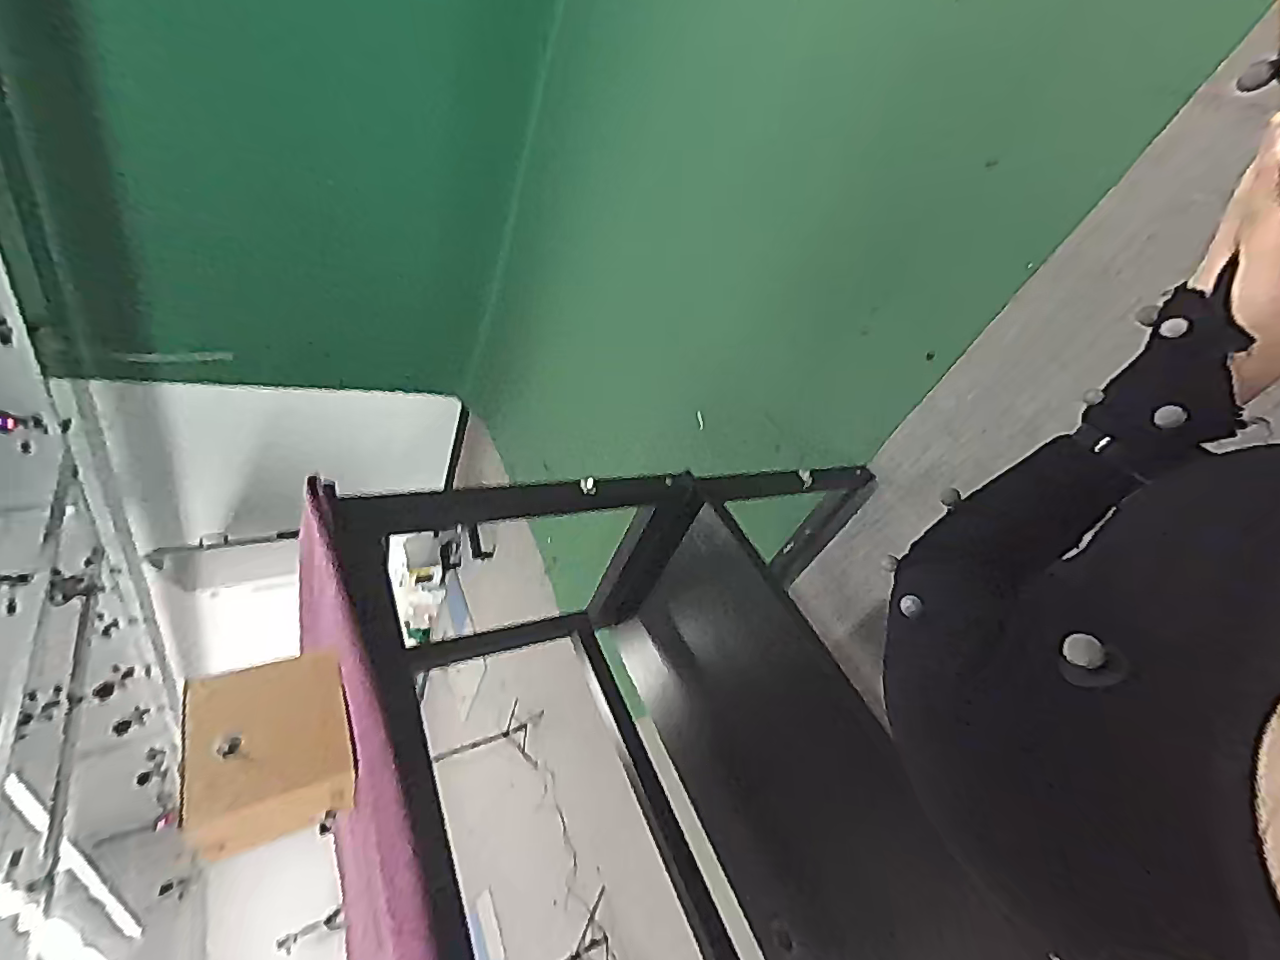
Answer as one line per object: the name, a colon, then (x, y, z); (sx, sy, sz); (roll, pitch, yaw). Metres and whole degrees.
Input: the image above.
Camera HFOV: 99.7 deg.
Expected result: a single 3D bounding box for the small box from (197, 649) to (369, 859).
small box: (-0.465, 0.355, 0.720); (0.179, 0.176, 0.168); (59, 139, 33)
